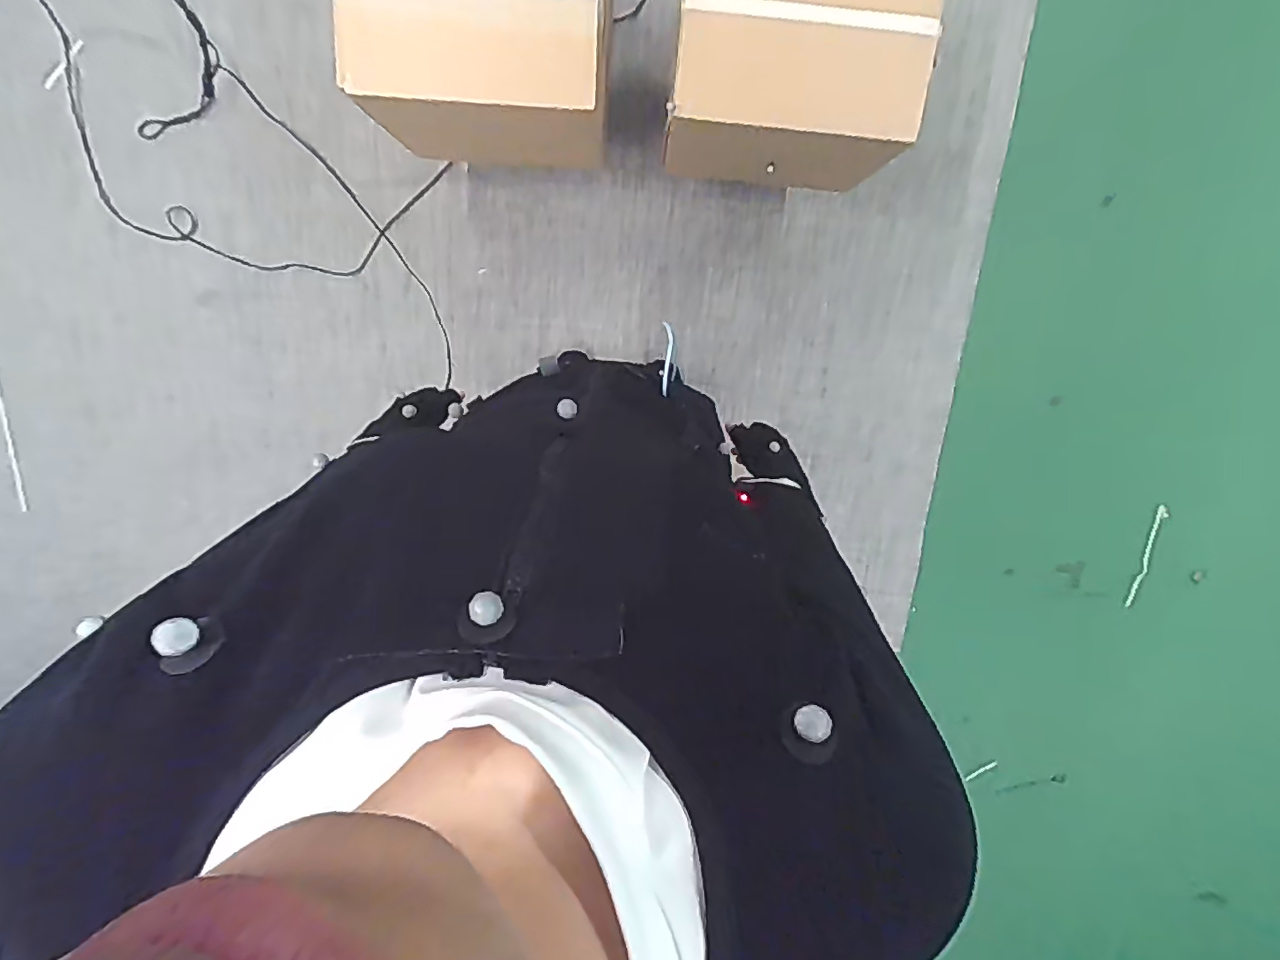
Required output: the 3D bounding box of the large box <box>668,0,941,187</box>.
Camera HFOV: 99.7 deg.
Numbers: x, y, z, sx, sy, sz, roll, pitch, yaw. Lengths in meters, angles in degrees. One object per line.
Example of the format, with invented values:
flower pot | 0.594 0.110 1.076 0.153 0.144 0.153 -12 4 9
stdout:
large box | 0.273 -0.761 0.999 0.408 0.320 0.320 6 104 -1
